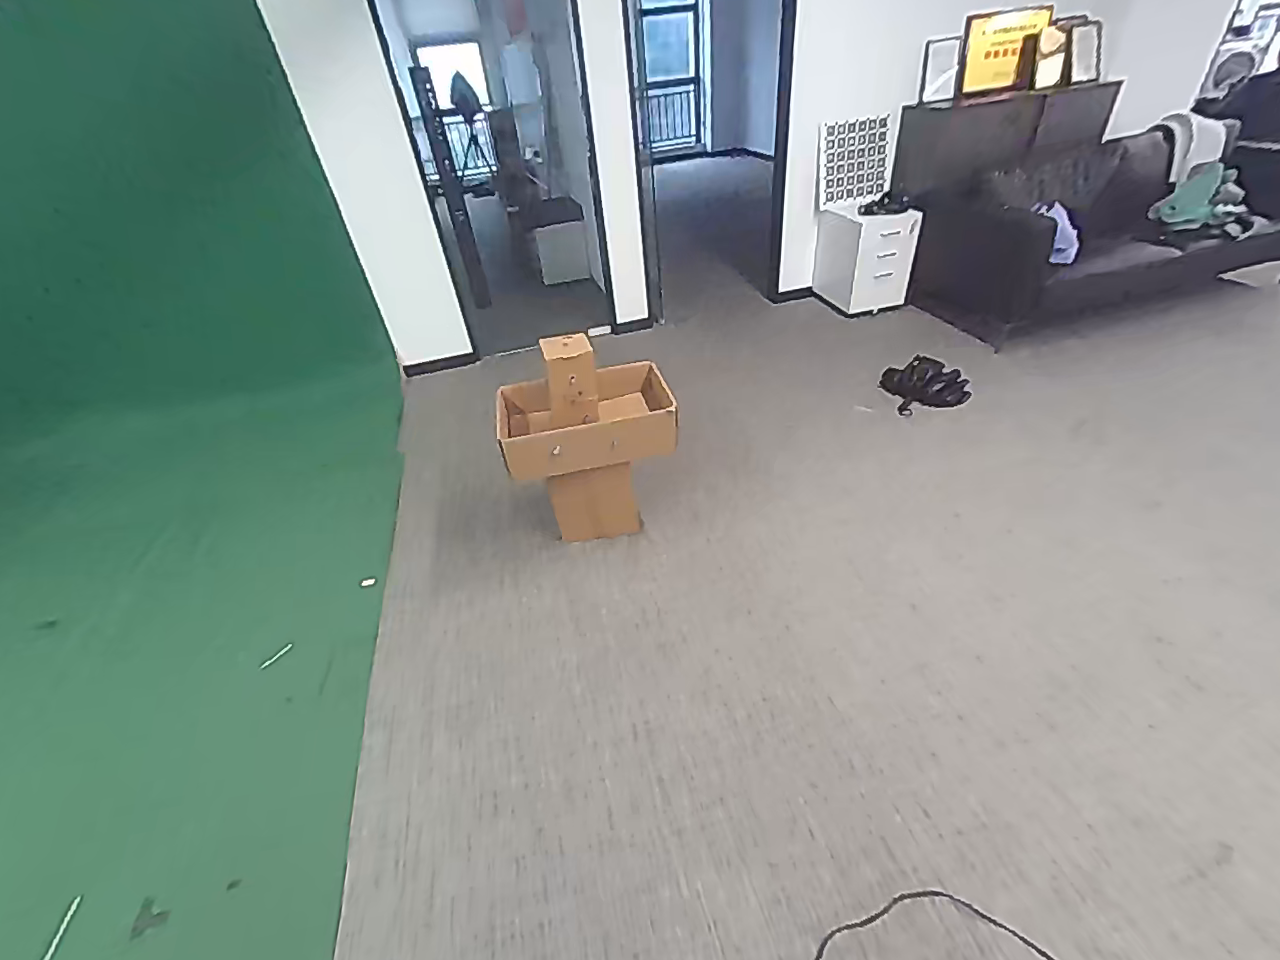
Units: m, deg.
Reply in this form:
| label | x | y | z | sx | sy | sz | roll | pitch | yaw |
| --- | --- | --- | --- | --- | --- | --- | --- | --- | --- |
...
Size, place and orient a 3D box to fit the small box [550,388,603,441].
| label | x | y | z | sx | sy | sz | roll | pitch | yaw |
| --- | --- | --- | --- | --- | --- | --- | --- | --- | --- |
| small box | -0.234 | -0.253 | 2.005 | 0.168 | 0.176 | 0.179 | -10 | 35 | -8 |

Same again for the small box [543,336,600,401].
| label | x | y | z | sx | sy | sz | roll | pitch | yaw |
| --- | --- | --- | --- | --- | --- | --- | --- | --- | --- |
| small box | -0.242 | -0.389 | 1.913 | 0.168 | 0.176 | 0.179 | -11 | 38 | -10 |
